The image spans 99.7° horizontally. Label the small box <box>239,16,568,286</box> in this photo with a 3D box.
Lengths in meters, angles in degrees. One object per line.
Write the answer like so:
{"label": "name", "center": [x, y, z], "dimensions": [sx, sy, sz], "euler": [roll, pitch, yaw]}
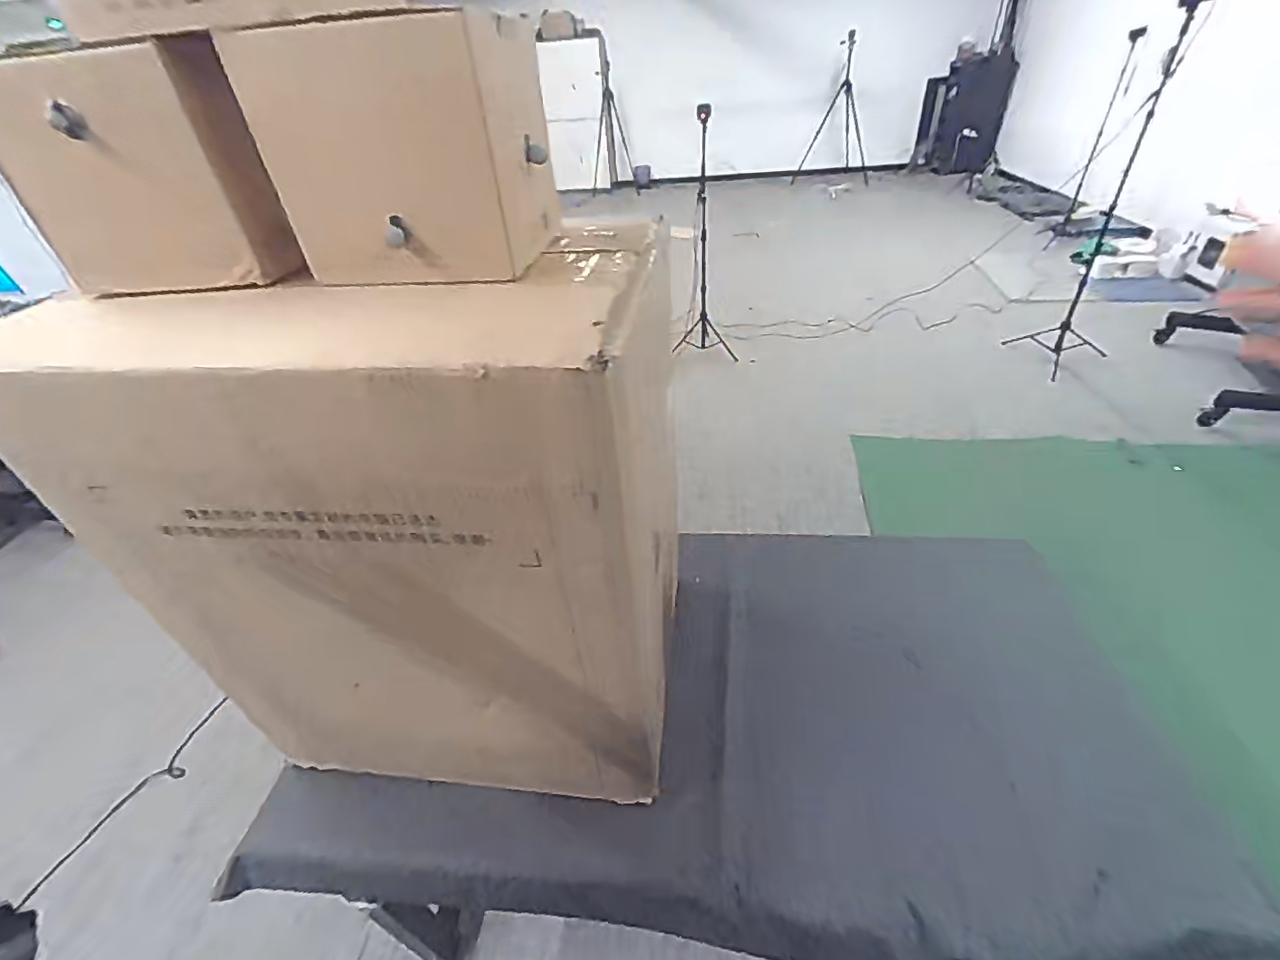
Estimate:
{"label": "small box", "center": [-0.168, -0.274, 0.459], "dimensions": [0.179, 0.176, 0.168], "euler": [1, 38, 7]}

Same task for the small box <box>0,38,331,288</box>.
{"label": "small box", "center": [-0.388, -0.280, 0.486], "dimensions": [0.179, 0.176, 0.168], "euler": [0, 38, 5]}

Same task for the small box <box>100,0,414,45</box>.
{"label": "small box", "center": [-0.285, -0.413, 0.378], "dimensions": [0.168, 0.176, 0.179], "euler": [1, 39, 8]}
